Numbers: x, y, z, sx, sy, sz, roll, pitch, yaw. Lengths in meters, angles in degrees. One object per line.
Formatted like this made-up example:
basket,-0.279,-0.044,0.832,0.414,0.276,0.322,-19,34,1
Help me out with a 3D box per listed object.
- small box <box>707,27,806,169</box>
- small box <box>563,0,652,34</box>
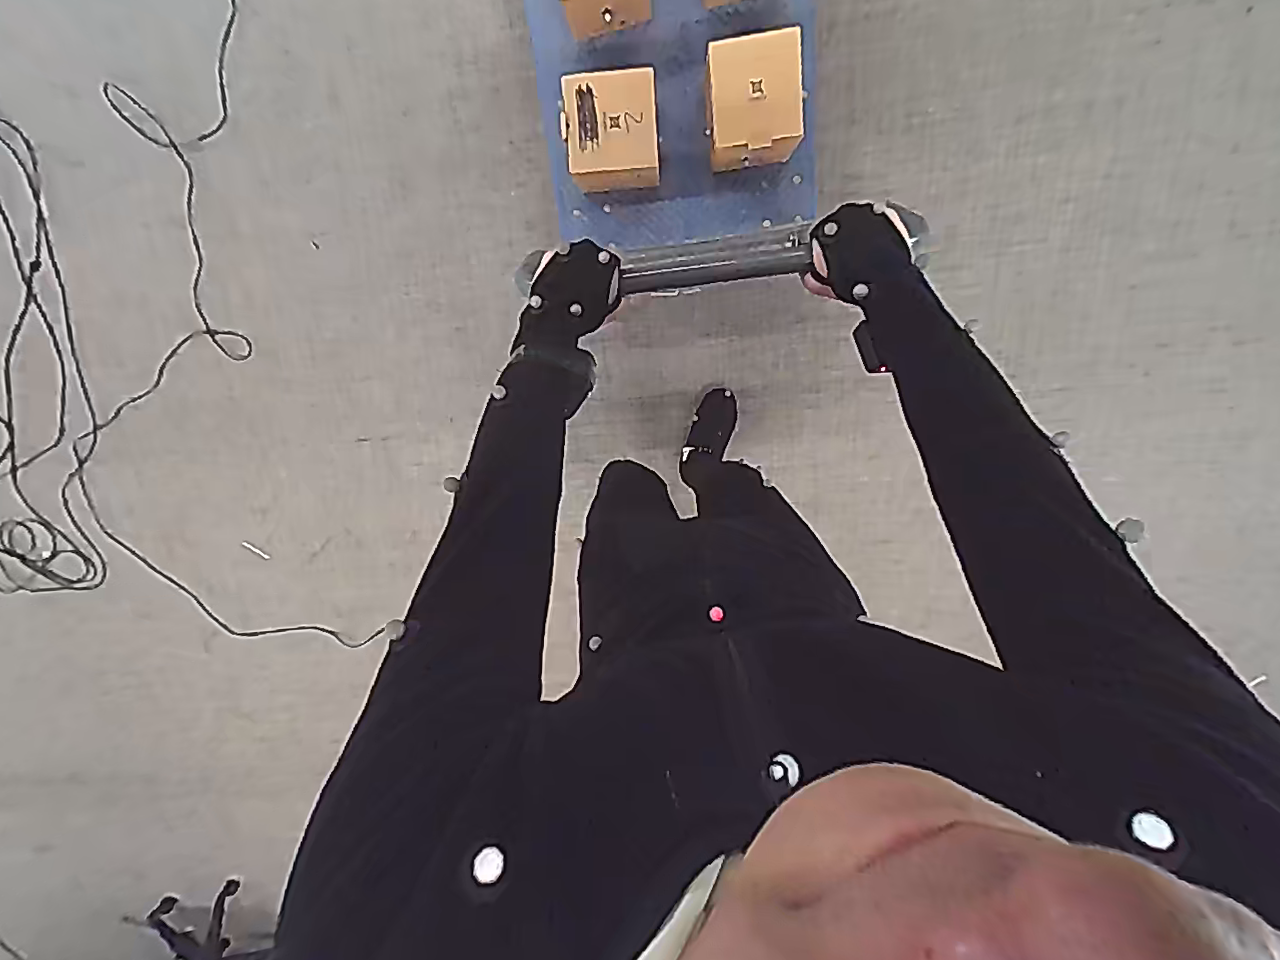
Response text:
small box,0.225,-0.743,1.070,0.168,0.176,0.179,-6,107,5
small box,-0.073,-0.982,1.014,0.168,0.176,0.179,-11,106,6
